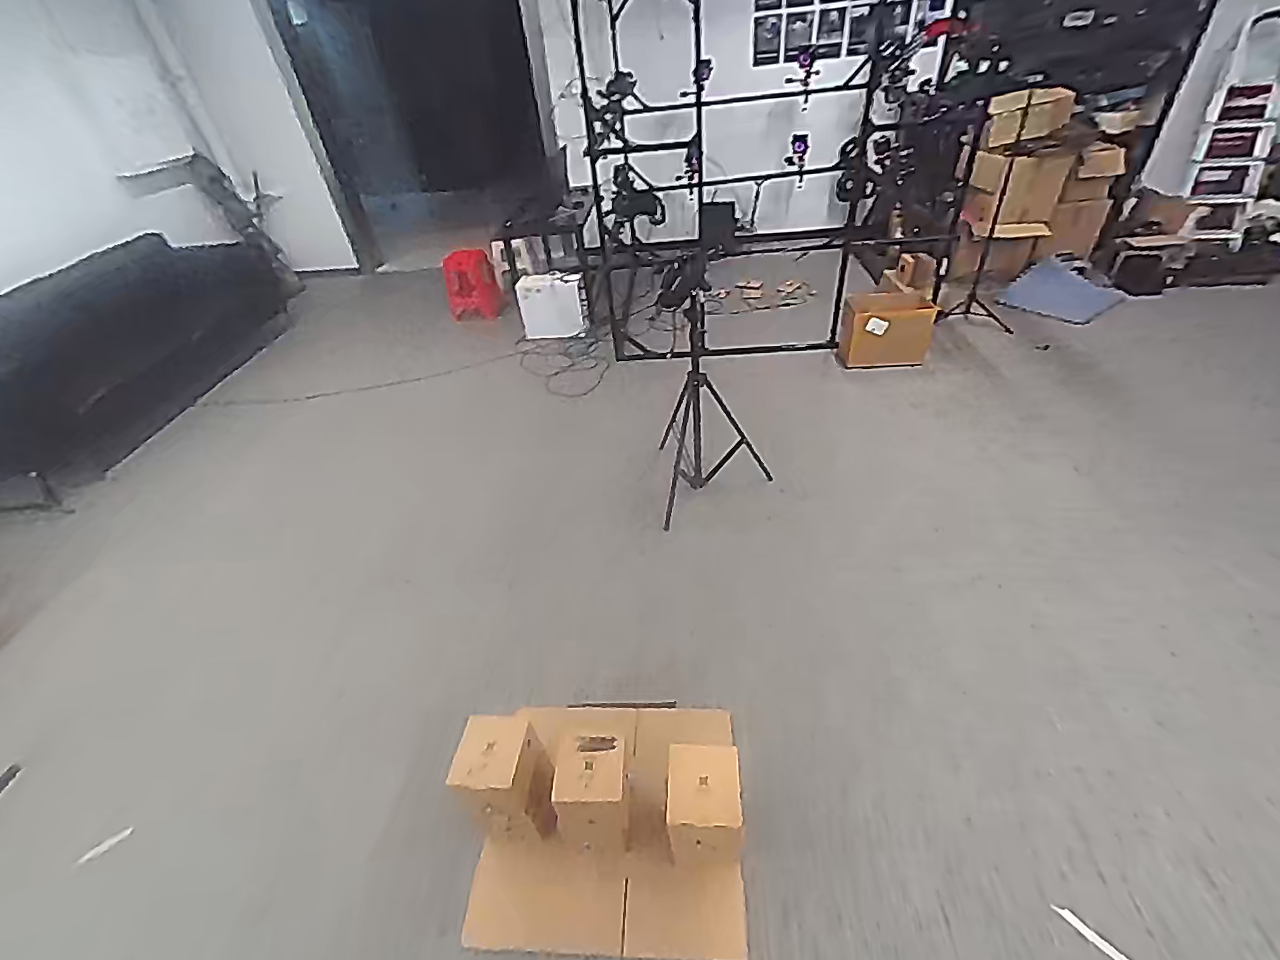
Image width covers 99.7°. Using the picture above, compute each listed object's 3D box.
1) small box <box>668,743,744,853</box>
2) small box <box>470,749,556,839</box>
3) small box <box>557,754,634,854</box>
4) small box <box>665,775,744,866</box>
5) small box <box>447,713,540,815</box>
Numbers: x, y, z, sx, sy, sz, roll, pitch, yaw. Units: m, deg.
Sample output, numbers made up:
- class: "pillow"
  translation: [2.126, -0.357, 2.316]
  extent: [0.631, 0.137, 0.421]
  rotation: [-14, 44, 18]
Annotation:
- class: "small box"
  translation: [0.154, 0.750, 1.280]
  extent: [0.168, 0.176, 0.179]
  rotation: [-1, 40, 6]
- class: "small box"
  translation: [-0.338, 0.856, 1.479]
  extent: [0.168, 0.176, 0.179]
  rotation: [-1, 40, 8]
- class: "small box"
  translation: [-0.111, 0.862, 1.440]
  extent: [0.168, 0.176, 0.179]
  rotation: [0, 40, 8]
- class: "small box"
  translation: [0.165, 0.868, 1.392]
  extent: [0.179, 0.176, 0.168]
  rotation: [-7, 39, -1]
- class: "small box"
  translation: [-0.363, 0.725, 1.382]
  extent: [0.168, 0.176, 0.179]
  rotation: [-1, 40, 9]
